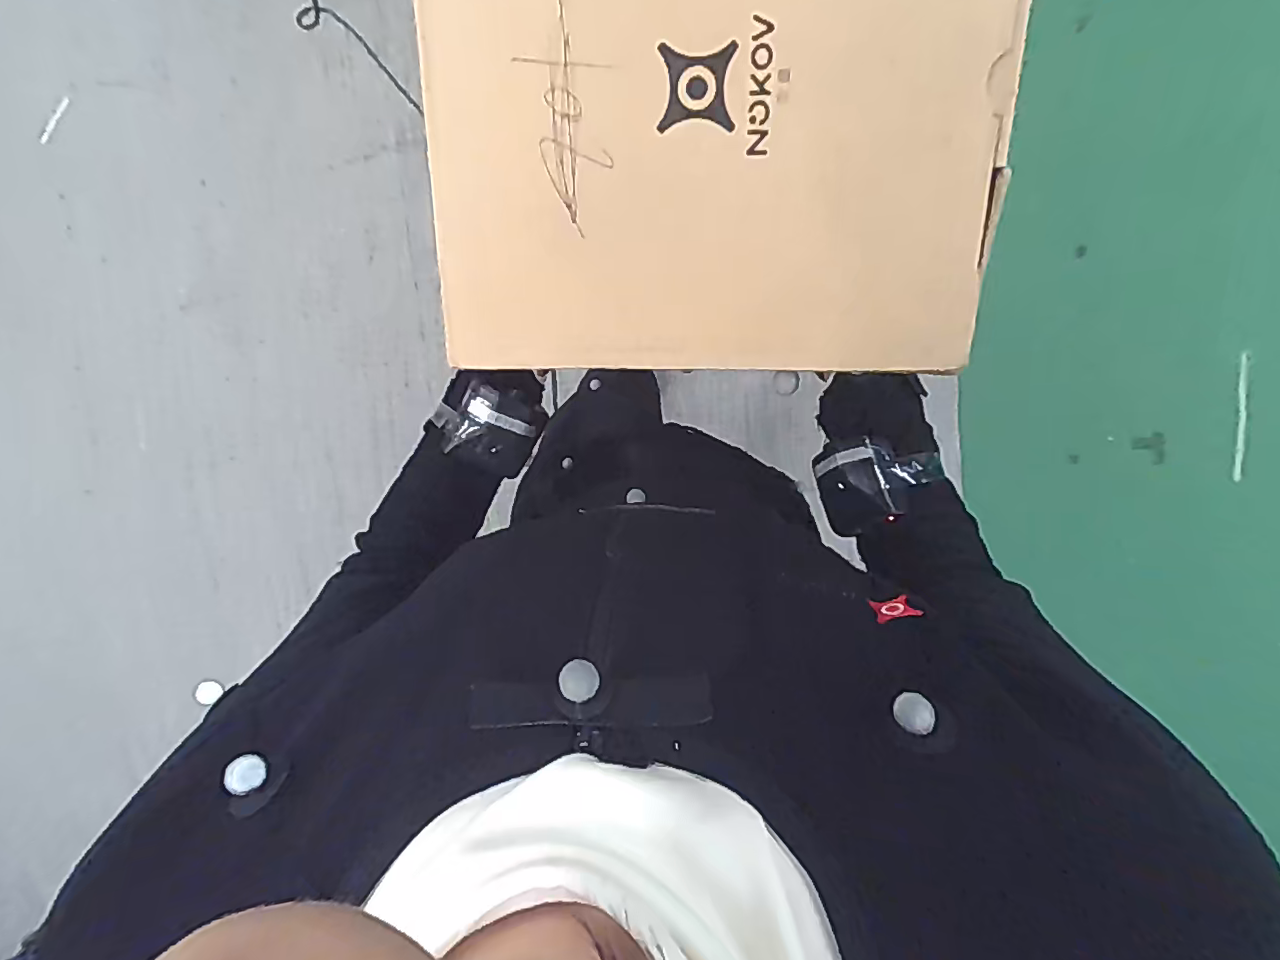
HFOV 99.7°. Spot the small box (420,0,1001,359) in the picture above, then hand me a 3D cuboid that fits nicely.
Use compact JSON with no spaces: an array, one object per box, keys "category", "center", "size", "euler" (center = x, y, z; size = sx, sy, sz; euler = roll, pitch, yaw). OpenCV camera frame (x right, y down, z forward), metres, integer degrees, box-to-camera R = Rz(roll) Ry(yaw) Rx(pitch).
[{"category":"small box","center":[0.024,-0.144,0.243],"size":[0.179,0.176,0.168],"euler":[1,106,5]}]
